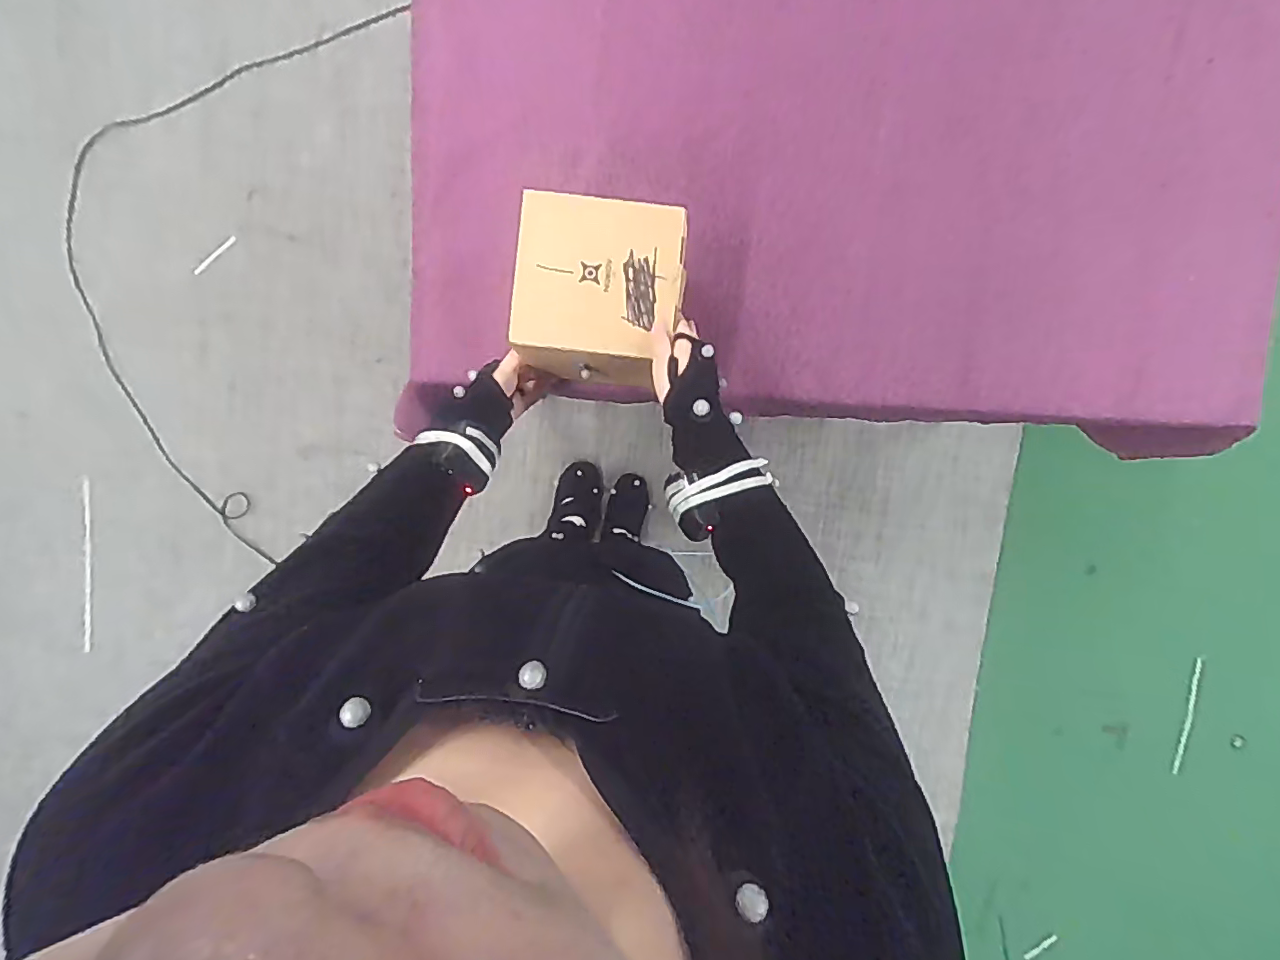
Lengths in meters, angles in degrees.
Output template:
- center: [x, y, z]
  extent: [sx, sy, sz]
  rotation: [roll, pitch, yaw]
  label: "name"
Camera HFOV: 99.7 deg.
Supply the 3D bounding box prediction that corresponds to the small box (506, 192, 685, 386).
- center: [-0.050, -0.214, 0.652]
  extent: [0.179, 0.176, 0.168]
  rotation: [6, 90, -2]
  label: "small box"
